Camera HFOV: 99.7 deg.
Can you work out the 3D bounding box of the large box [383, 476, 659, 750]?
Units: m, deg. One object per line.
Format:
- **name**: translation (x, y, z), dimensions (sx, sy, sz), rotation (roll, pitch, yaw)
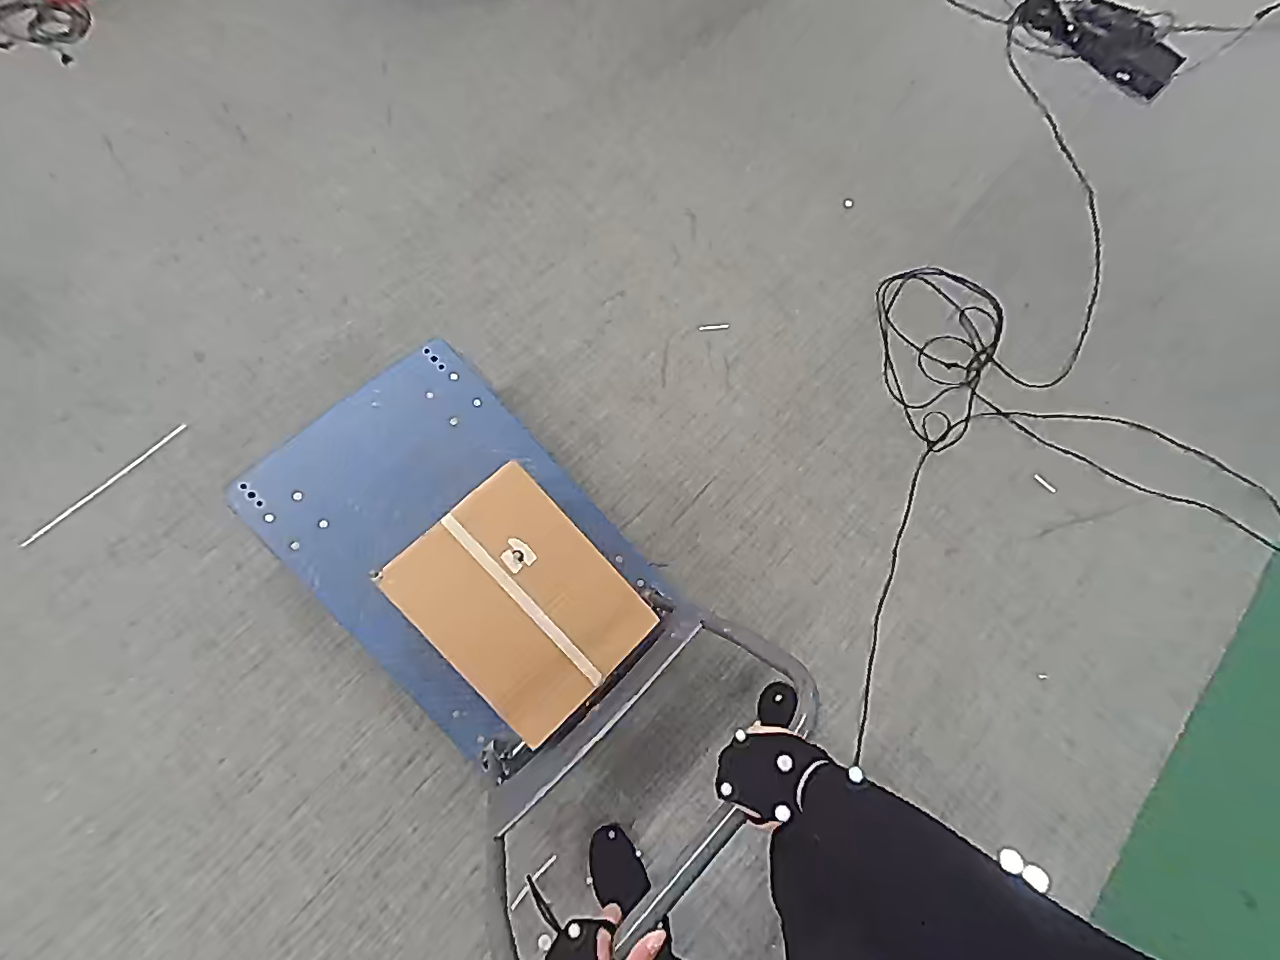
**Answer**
- **large box**: translation (-0.229, 0.253, 1.115), dimensions (0.320, 0.320, 0.408), rotation (-43, 92, -14)
